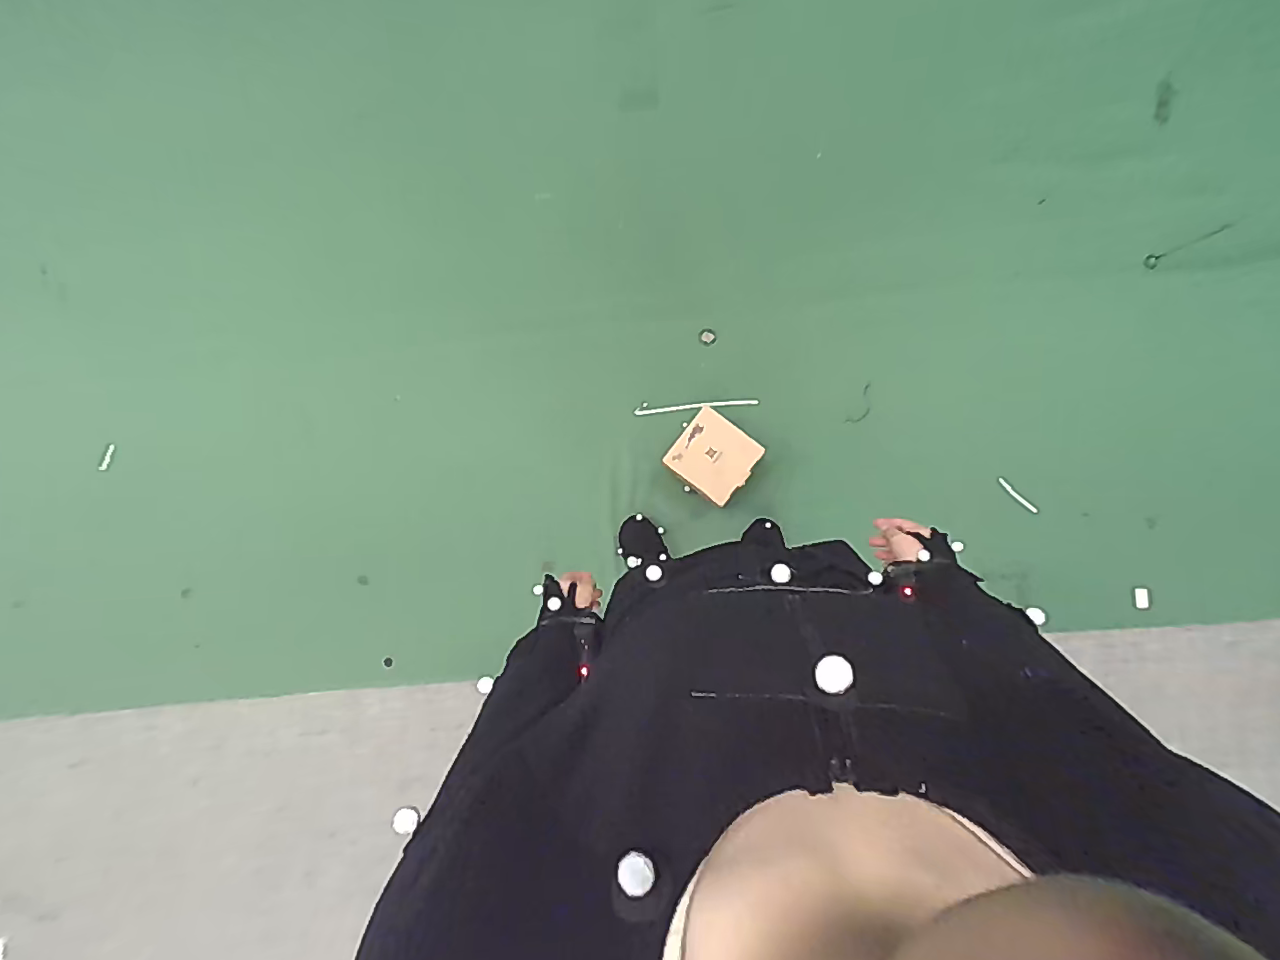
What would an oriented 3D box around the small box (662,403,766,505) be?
[{"bbox_3d":[0.170,-0.059,1.290,0.179,0.176,0.168,38,90,4],"label":"small box"}]
